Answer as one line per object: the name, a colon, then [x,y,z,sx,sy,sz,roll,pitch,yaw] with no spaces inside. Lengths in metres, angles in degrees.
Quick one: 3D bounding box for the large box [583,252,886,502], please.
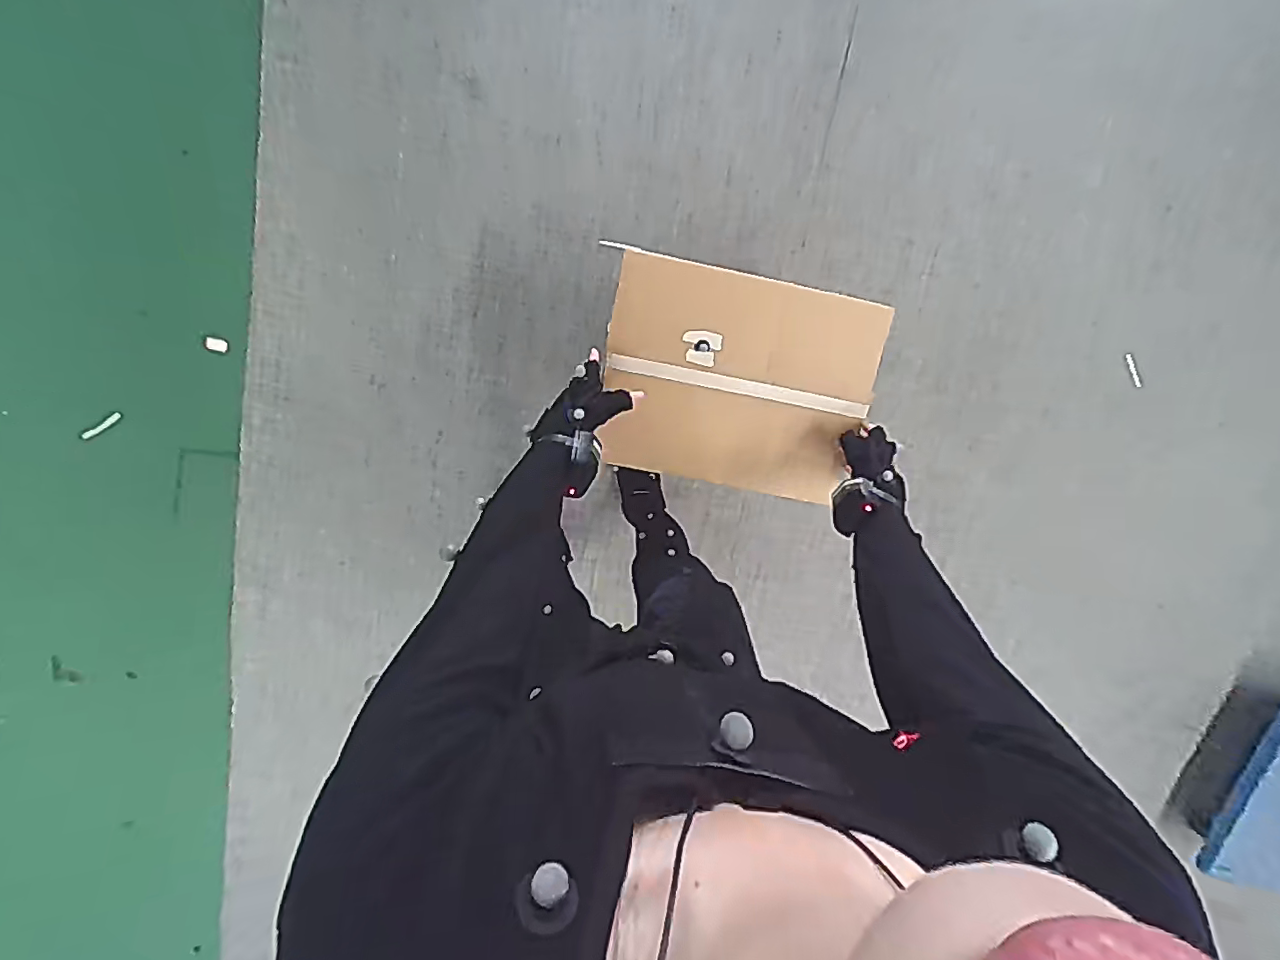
large box: [0.135,-0.183,0.948,0.408,0.320,0.320,11,105,-4]
